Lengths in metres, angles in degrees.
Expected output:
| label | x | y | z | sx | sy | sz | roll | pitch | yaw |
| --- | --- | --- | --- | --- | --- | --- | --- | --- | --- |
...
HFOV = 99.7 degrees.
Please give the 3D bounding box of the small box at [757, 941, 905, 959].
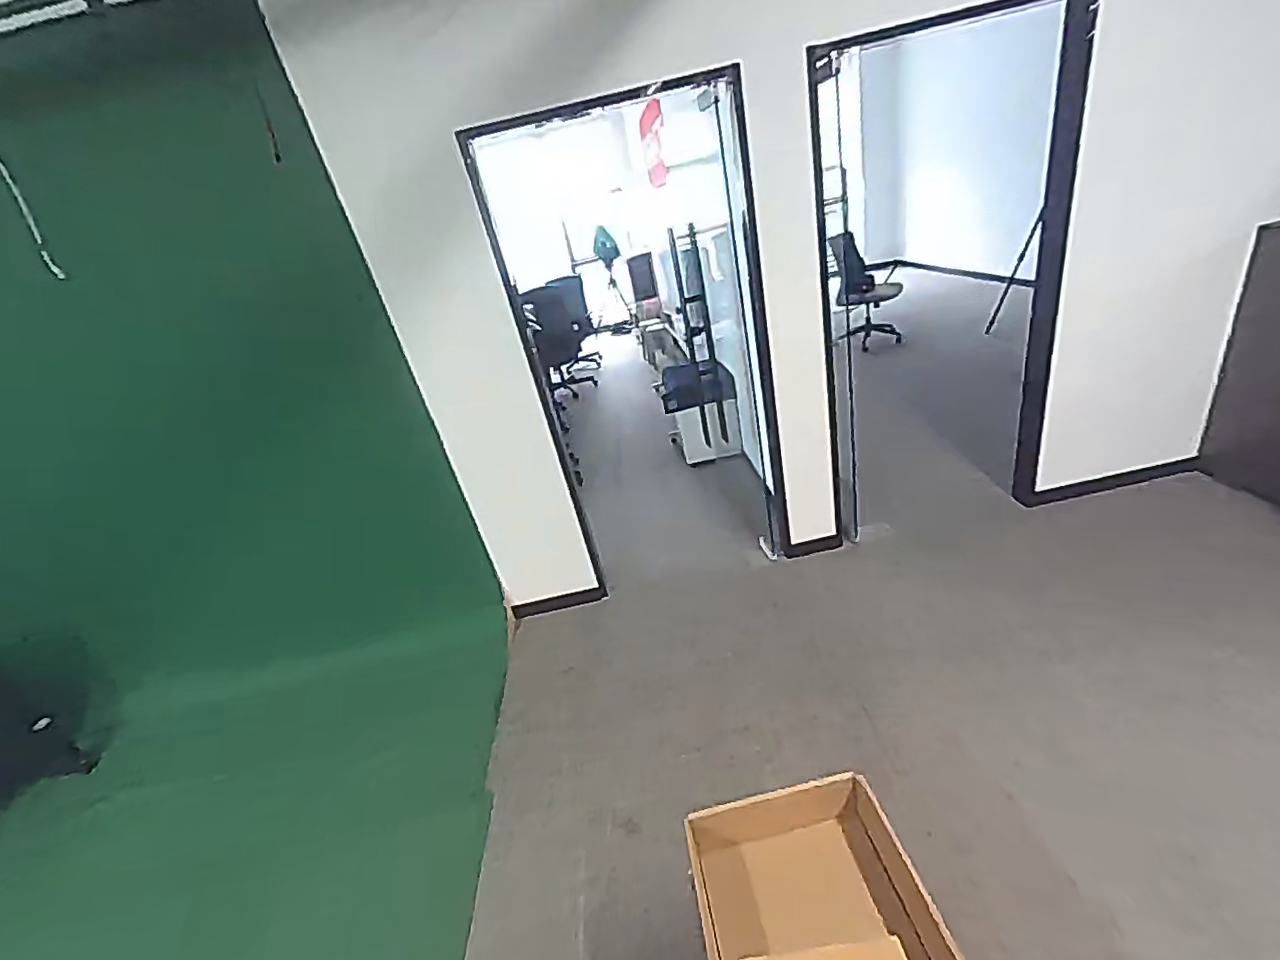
| label | x | y | z | sx | sy | sz | roll | pitch | yaw |
| --- | --- | --- | --- | --- | --- | --- | --- | --- | --- |
| small box | 0.203 | 0.604 | 0.525 | 0.179 | 0.176 | 0.168 | -9 | 20 | 1 |
